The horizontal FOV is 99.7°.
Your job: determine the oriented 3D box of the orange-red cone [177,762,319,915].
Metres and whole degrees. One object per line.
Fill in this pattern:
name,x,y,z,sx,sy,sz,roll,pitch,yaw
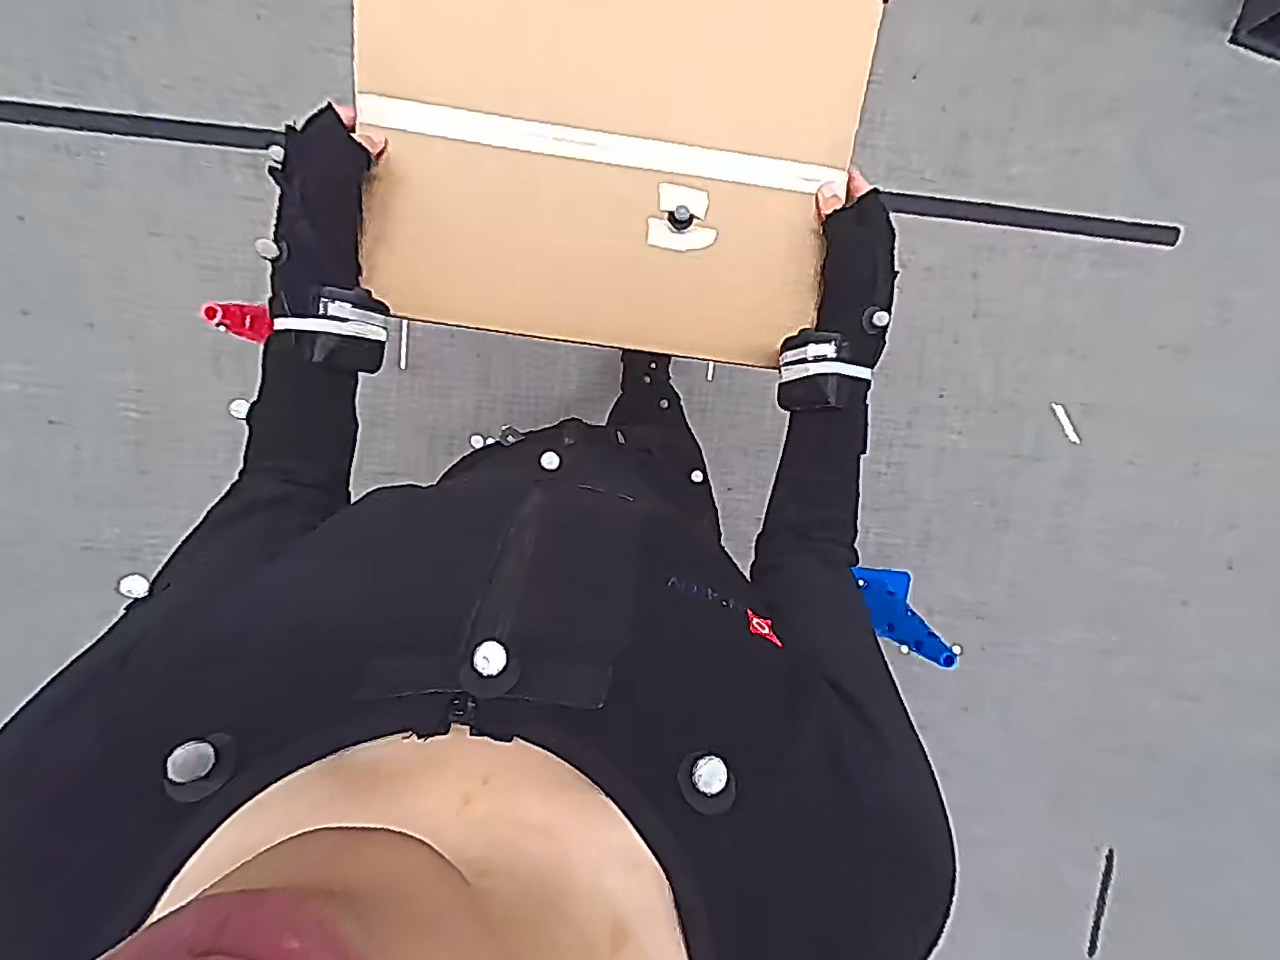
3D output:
orange-red cone,-1.013,0.926,1.373,0.198,0.360,0.199,3,99,-2

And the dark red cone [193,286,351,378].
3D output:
dark red cone,-0.816,-0.345,1.182,0.201,0.394,0.202,11,97,-5

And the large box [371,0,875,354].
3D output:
large box,-0.031,-0.321,0.598,0.408,0.320,0.320,7,105,-5

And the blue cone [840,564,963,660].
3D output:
blue cone,0.684,0.360,1.389,0.192,0.380,0.193,8,98,-5
